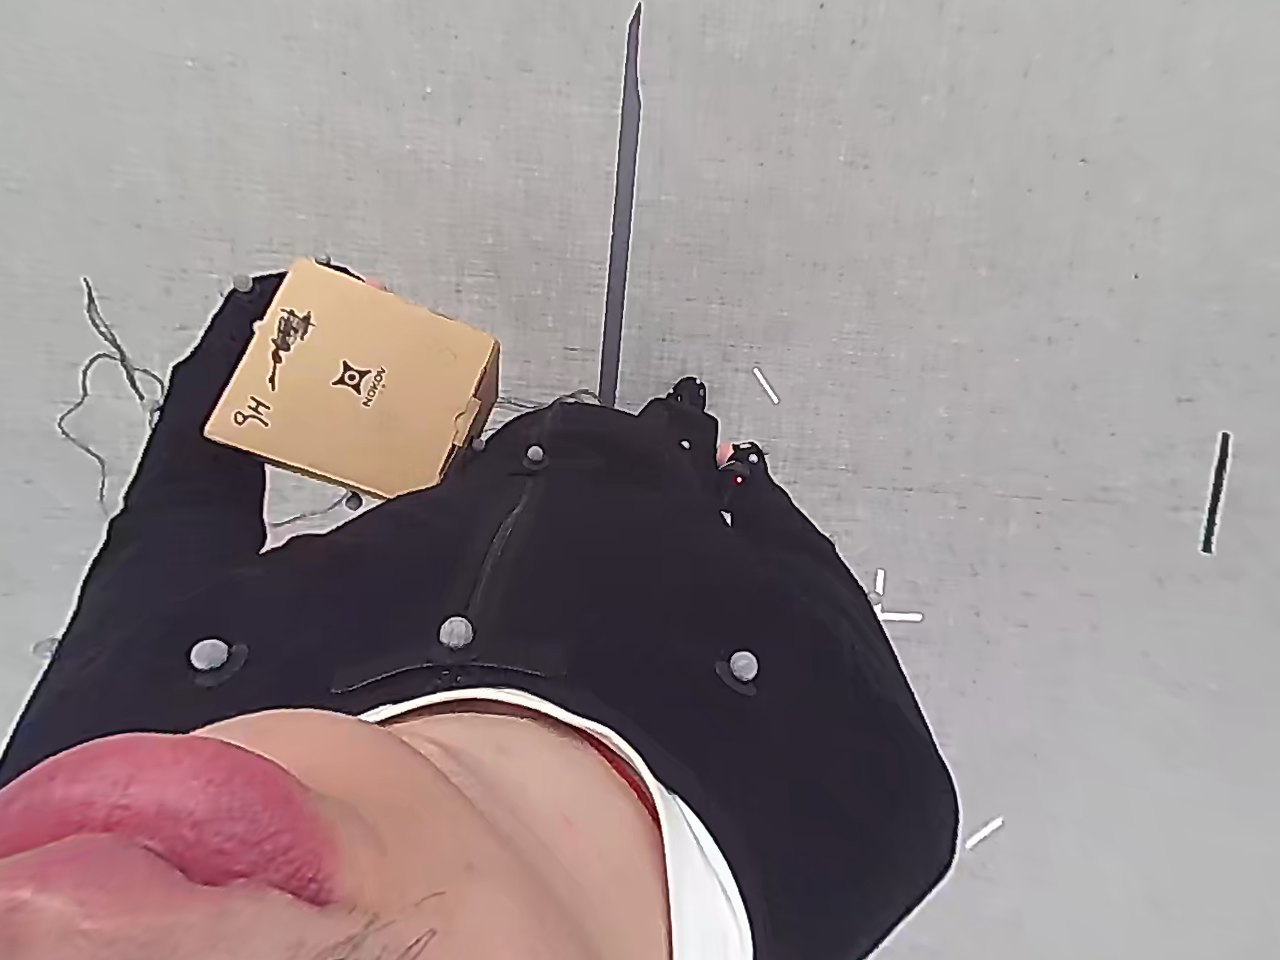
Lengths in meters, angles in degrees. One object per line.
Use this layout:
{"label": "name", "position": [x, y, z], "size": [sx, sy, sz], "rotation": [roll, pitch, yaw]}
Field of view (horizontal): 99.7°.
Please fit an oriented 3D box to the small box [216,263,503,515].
{"label": "small box", "position": [-0.249, -0.069, 0.531], "size": [0.179, 0.176, 0.168], "rotation": [21, 76, -12]}
